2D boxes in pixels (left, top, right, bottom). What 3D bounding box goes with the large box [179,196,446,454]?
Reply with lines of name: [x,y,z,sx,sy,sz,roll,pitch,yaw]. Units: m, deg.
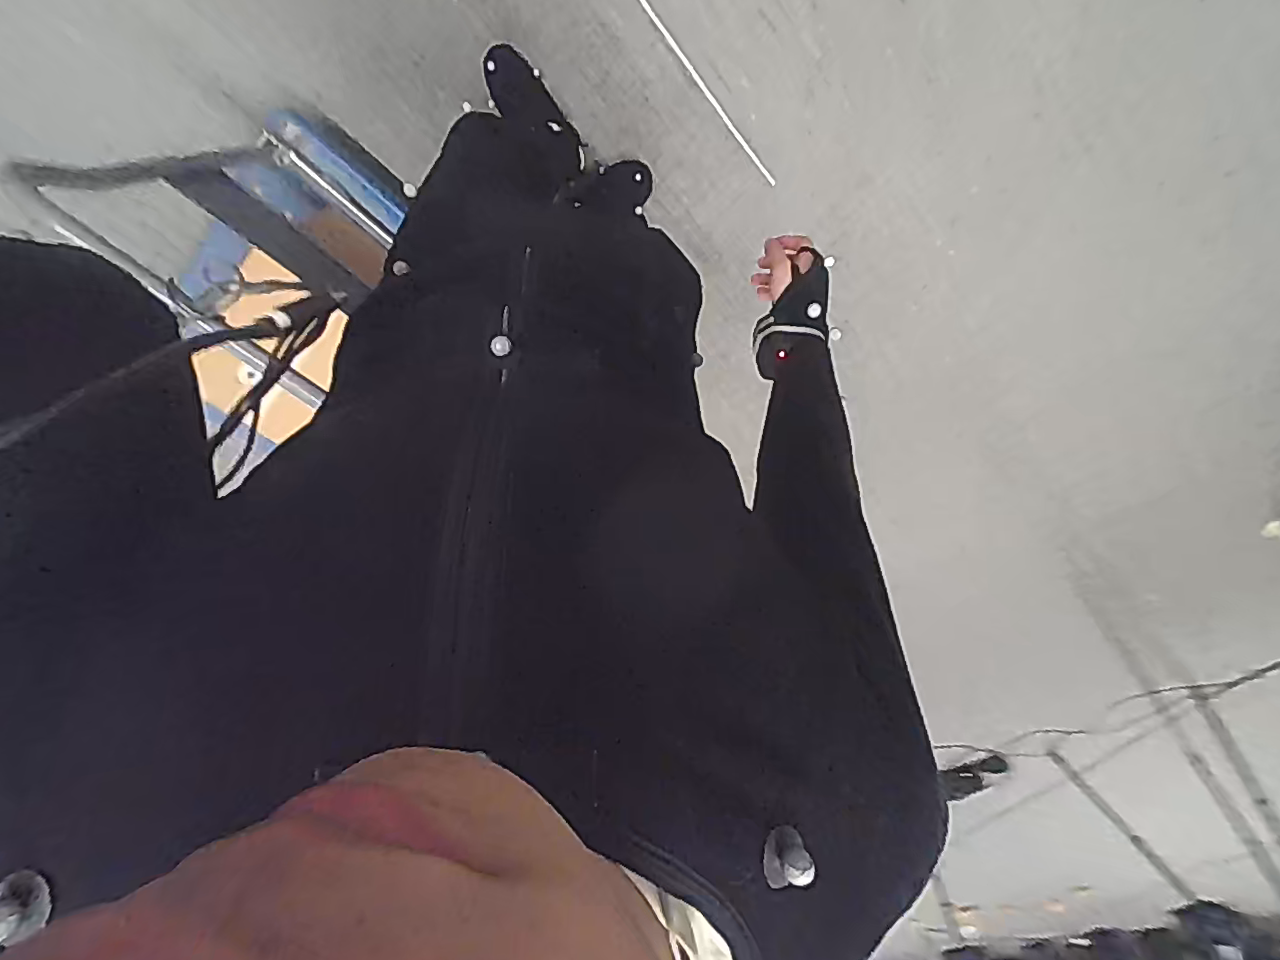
large box: [-0.713,-0.345,1.221,0.408,0.320,0.320,-35,121,25]
